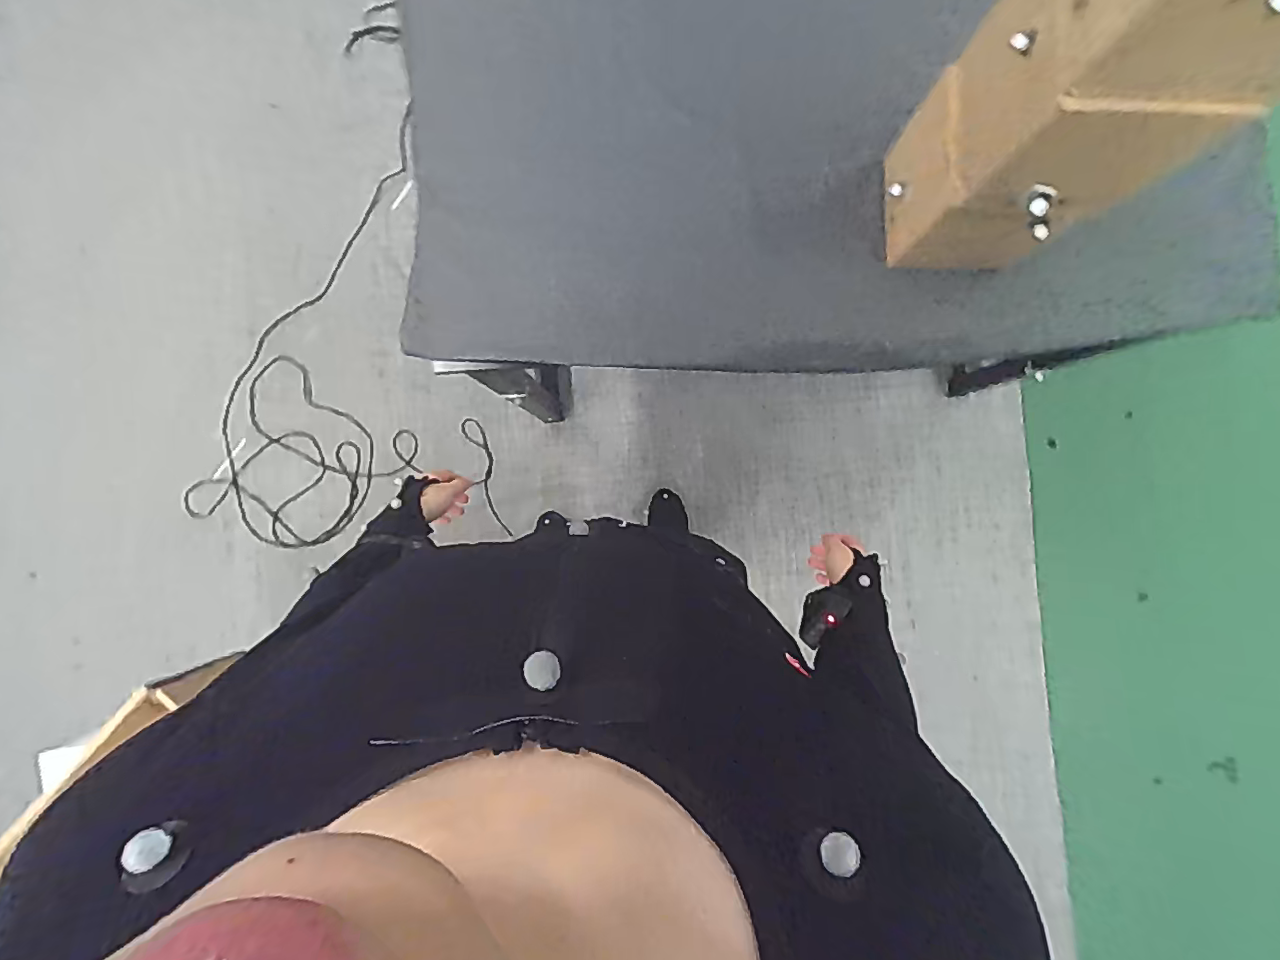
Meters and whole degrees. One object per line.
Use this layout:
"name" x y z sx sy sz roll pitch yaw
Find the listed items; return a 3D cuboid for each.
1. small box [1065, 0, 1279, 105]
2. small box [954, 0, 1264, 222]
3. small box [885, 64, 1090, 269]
"small box" 0.430 -0.388 0.361 0.179 0.176 0.168 4 88 3
"small box" 0.431 -0.380 0.524 0.168 0.176 0.179 3 89 3
"small box" 0.436 -0.382 0.686 0.179 0.176 0.168 1 88 1
